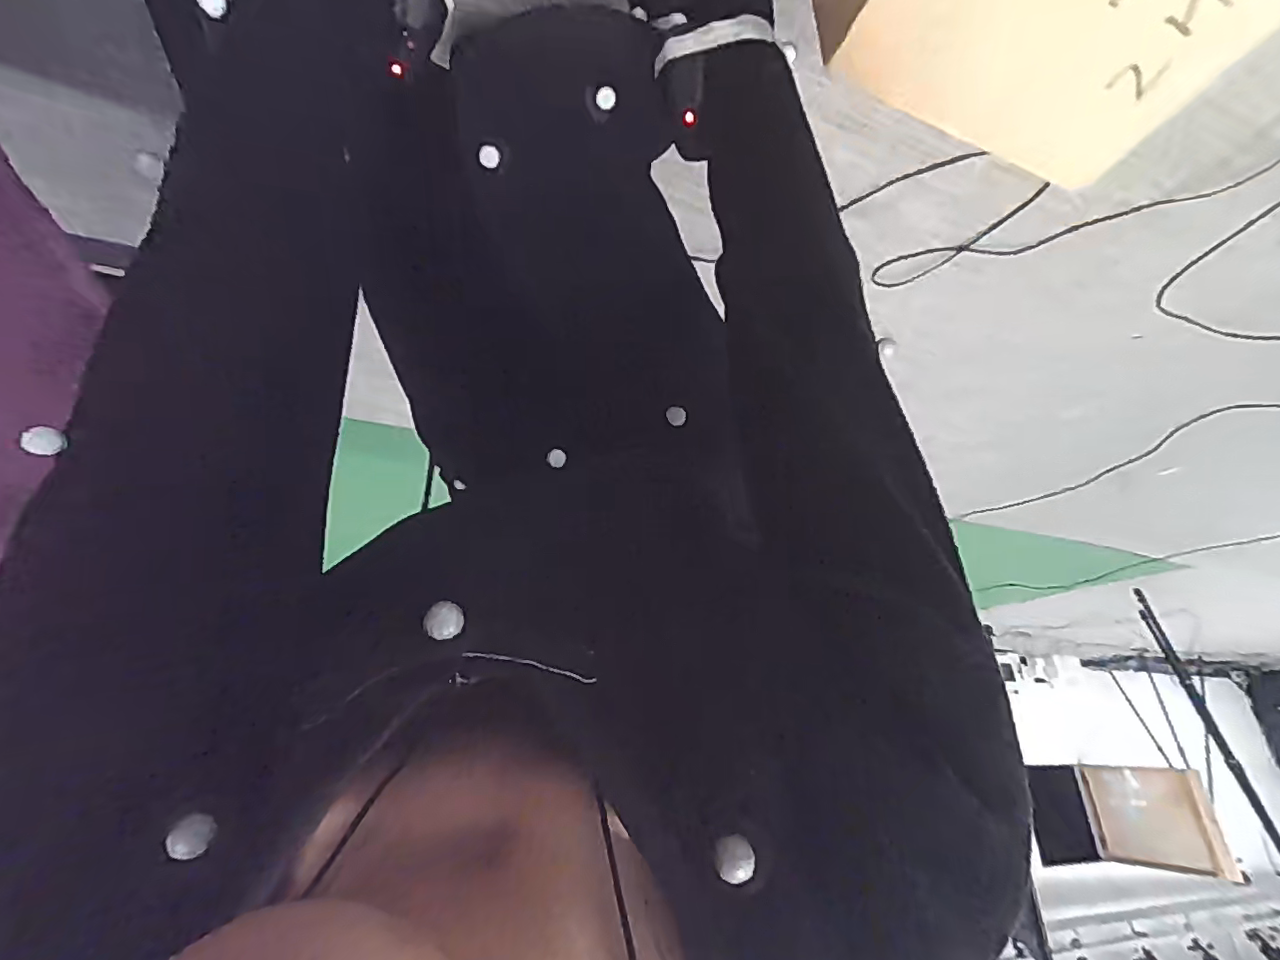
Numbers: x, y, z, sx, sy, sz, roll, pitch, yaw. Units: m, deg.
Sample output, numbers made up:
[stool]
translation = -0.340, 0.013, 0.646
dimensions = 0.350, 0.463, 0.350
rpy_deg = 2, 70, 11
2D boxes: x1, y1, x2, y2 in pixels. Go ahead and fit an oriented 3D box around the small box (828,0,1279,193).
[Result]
[small box]
translation = 0.201, -0.286, 0.254
dimensions = 0.179, 0.176, 0.168
rpy_deg = 11, 154, -19
